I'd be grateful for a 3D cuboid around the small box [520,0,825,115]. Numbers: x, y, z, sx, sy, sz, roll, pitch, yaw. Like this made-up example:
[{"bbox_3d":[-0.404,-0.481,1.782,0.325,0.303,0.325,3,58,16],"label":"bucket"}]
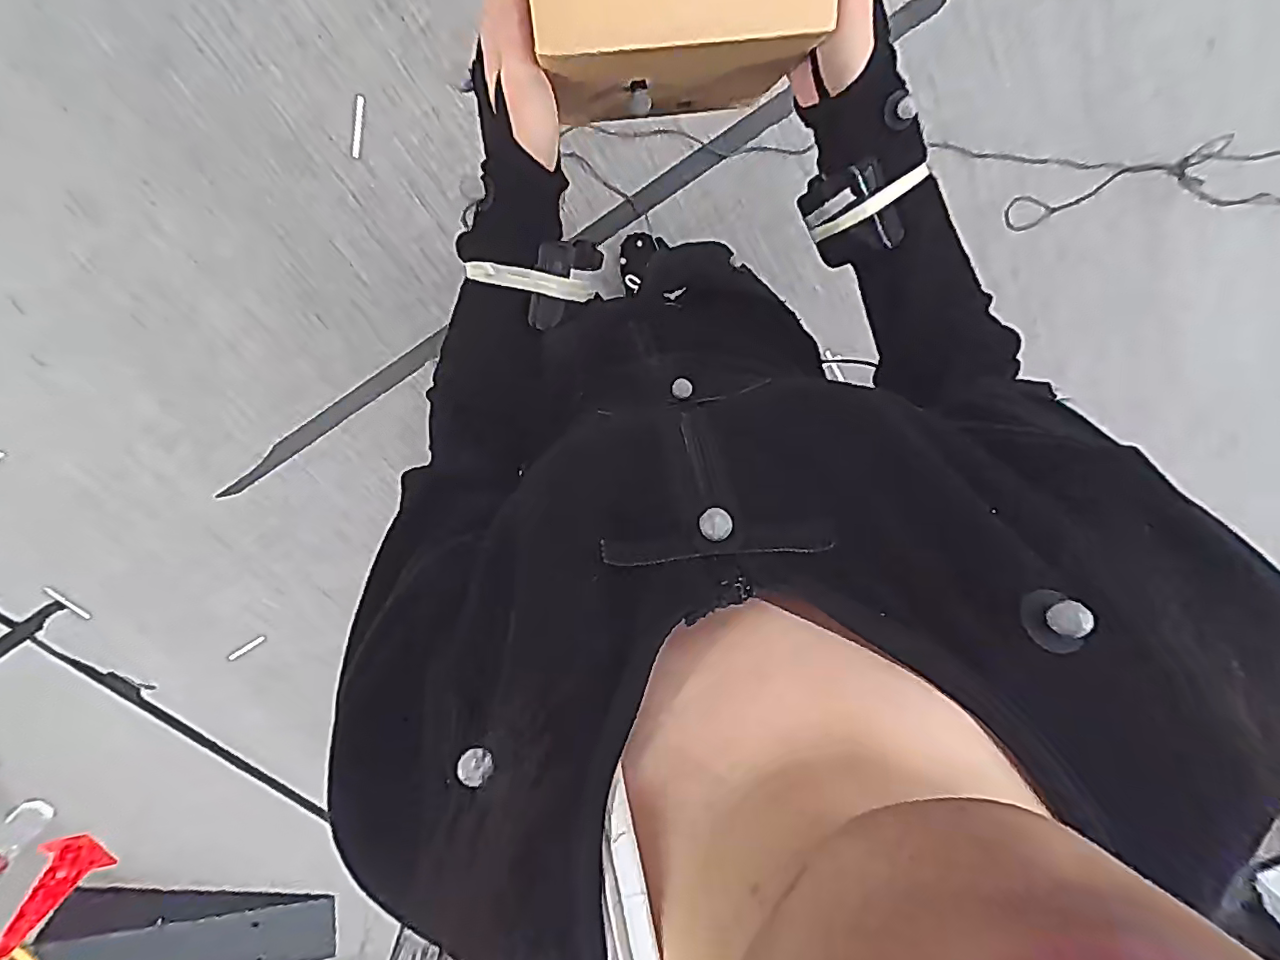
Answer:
[{"bbox_3d":[0.009,-0.347,0.335,0.168,0.176,0.179,-6,112,-2],"label":"small box"}]
